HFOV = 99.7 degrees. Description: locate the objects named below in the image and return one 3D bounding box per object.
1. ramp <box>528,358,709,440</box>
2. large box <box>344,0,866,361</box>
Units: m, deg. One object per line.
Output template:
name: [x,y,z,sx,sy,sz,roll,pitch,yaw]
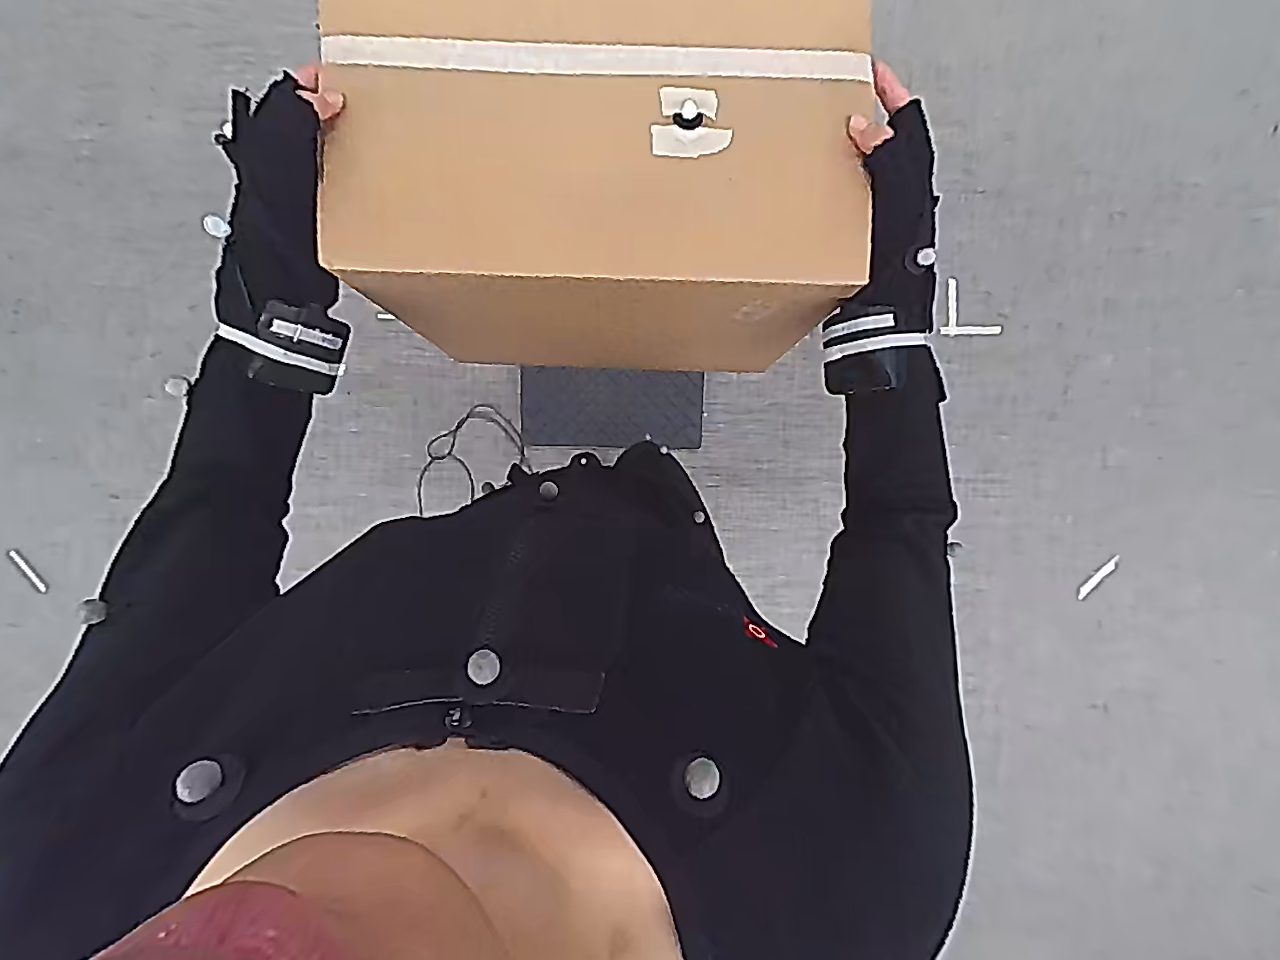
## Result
ramp: [-0.049,-0.602,1.393,0.509,0.206,0.991,-1,91,-3]
large box: [-0.029,-0.313,0.564,0.408,0.320,0.320,1,90,-1]
